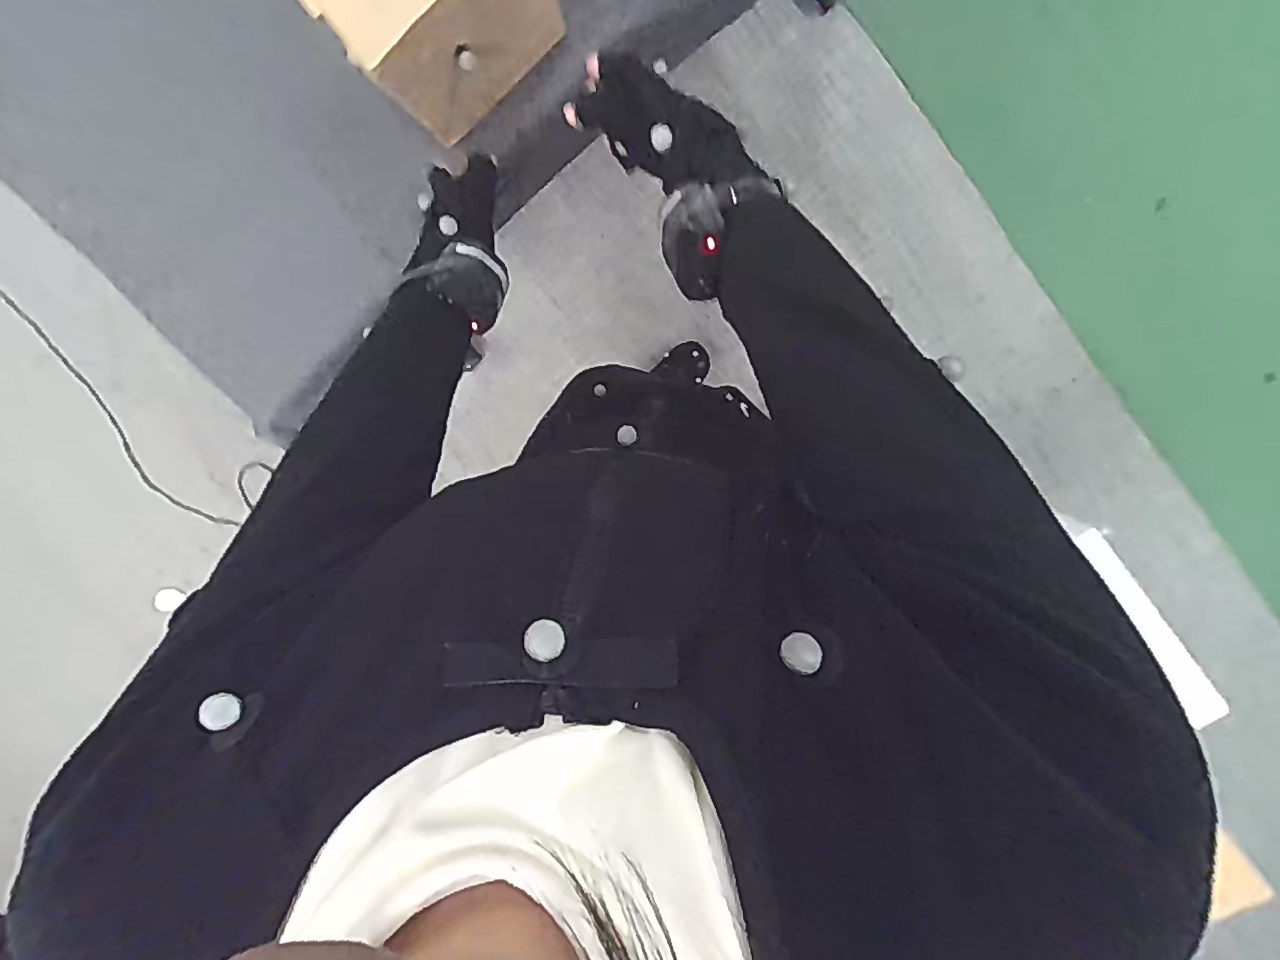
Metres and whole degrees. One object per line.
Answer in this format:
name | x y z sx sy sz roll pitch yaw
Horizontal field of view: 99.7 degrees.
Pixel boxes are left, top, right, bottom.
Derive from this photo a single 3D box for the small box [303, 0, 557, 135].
small box | -0.202 -0.465 0.493 0.179 0.176 0.168 -37 97 13
